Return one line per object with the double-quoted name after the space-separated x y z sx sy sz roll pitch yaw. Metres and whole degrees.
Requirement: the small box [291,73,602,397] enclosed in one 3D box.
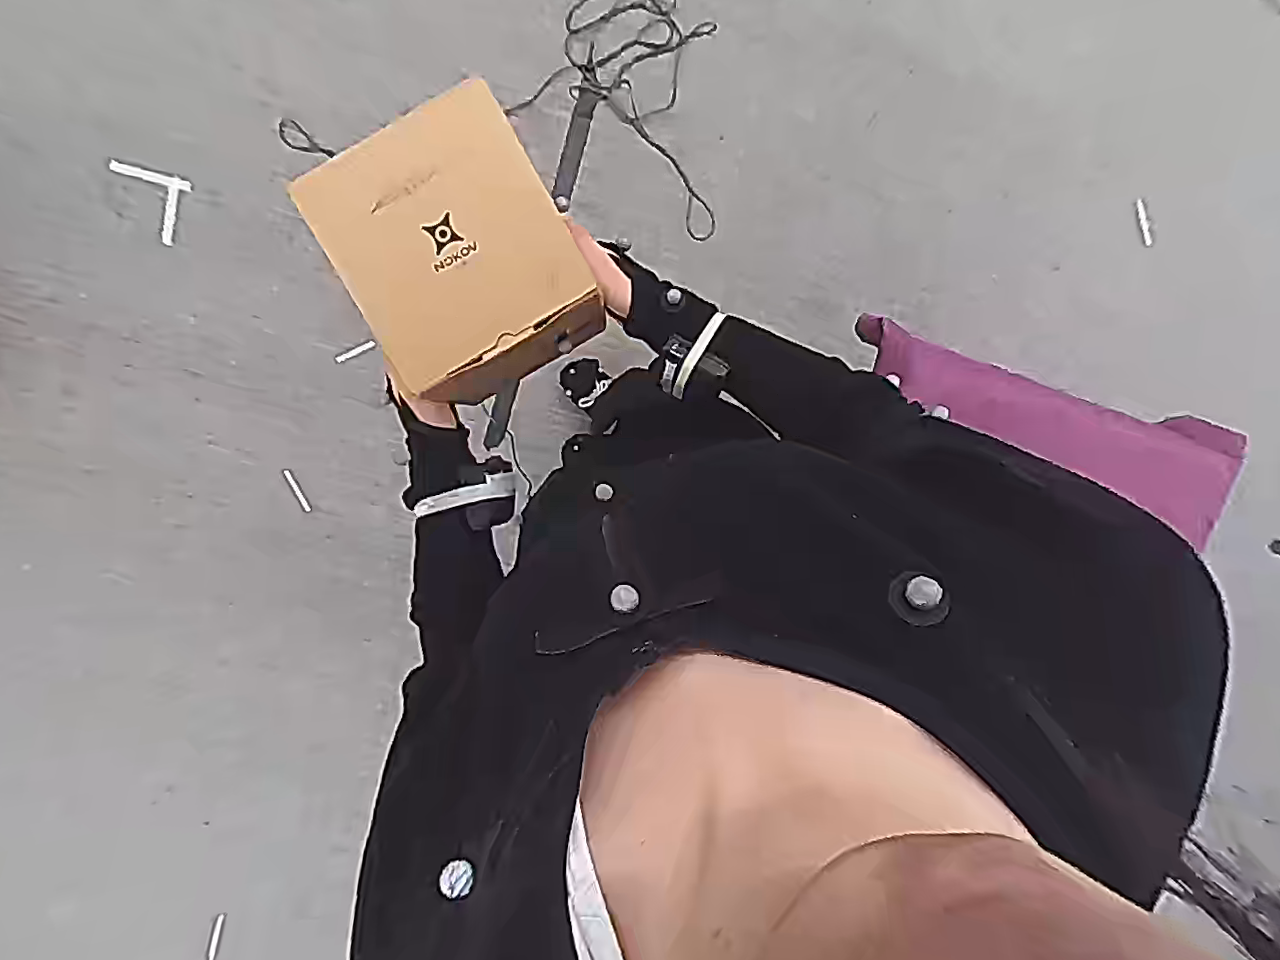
-0.142 -0.186 0.474 0.168 0.176 0.179 -31 95 0 "small box"
